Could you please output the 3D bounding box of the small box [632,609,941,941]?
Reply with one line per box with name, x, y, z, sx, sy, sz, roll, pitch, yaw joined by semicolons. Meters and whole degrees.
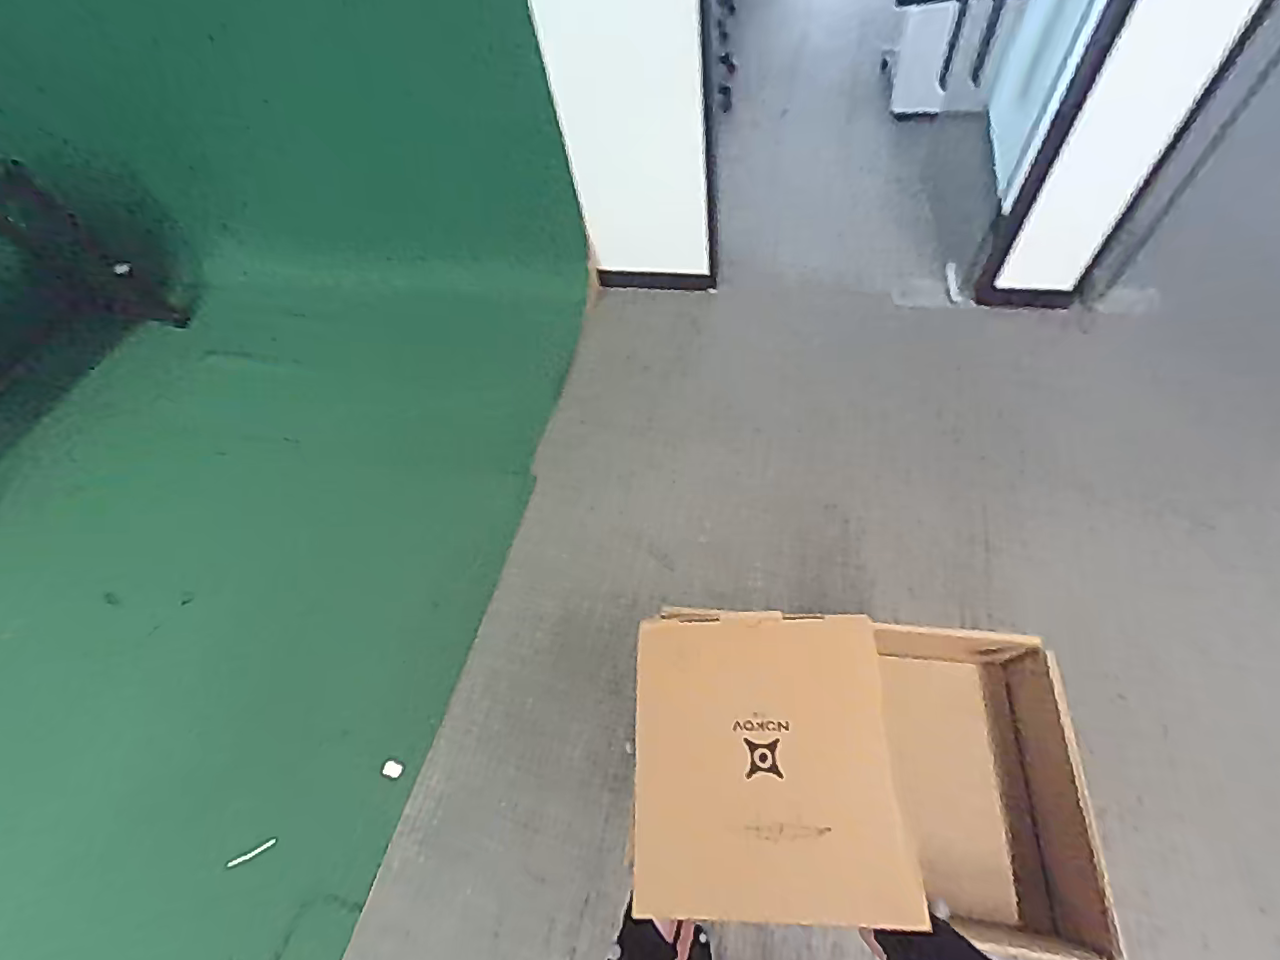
small box;0.088;0.206;0.400;0.168;0.176;0.179;-3;60;7
